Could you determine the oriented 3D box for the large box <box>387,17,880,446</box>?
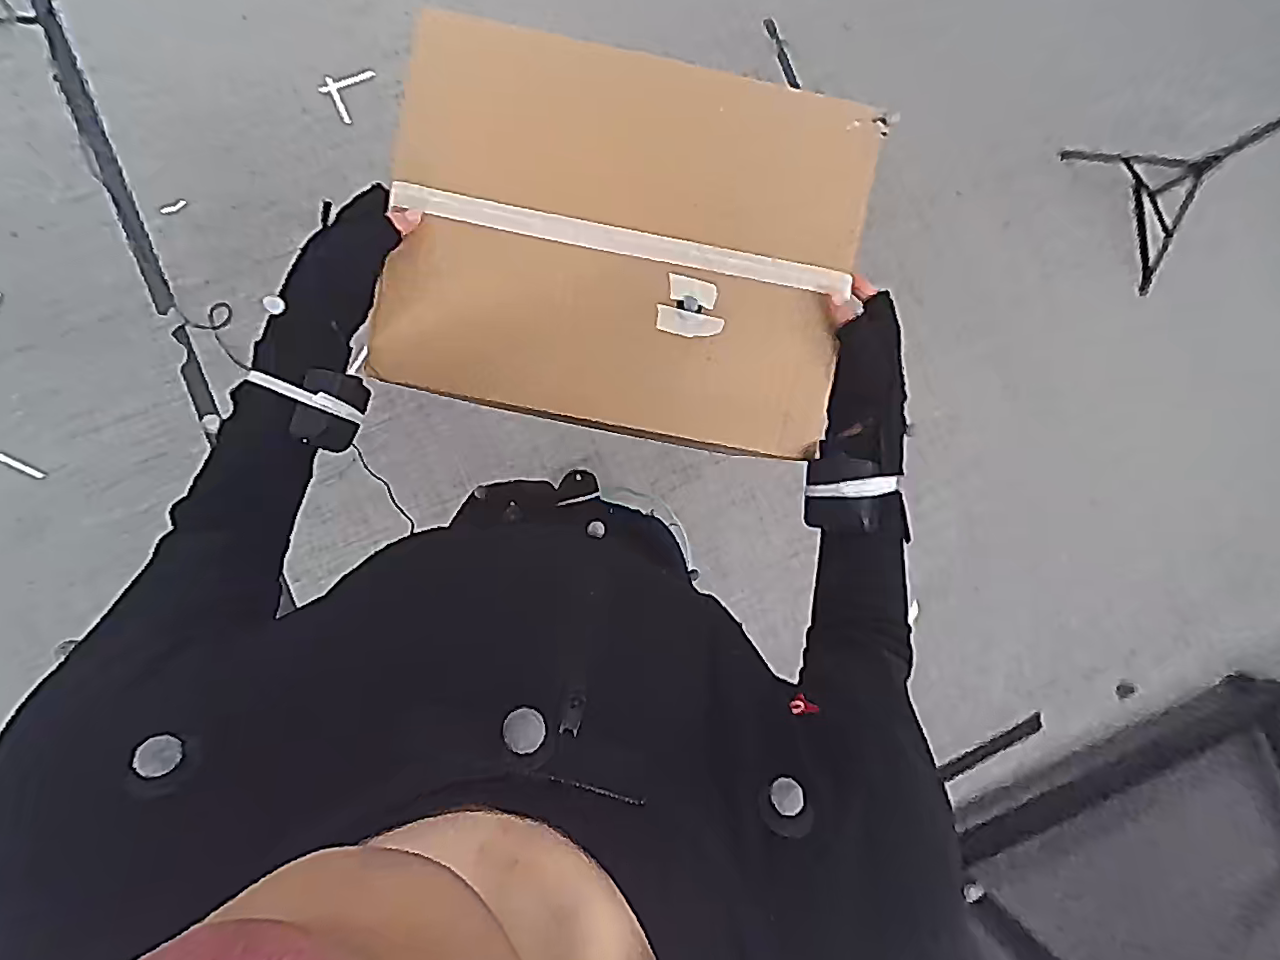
[{"bbox_3d":[-0.013,-0.225,0.631,0.408,0.320,0.320,11,94,-3],"label":"large box"}]
